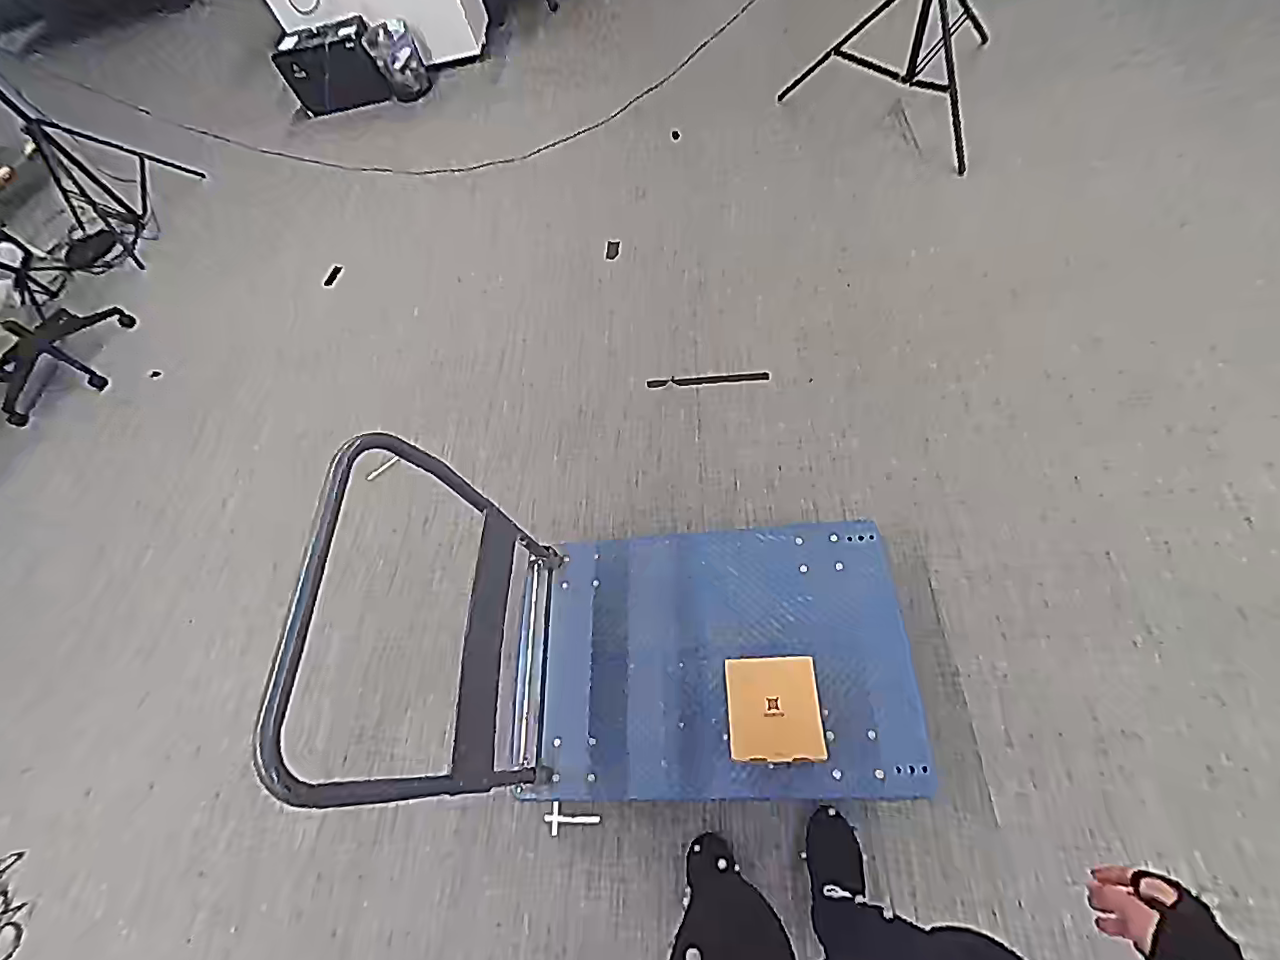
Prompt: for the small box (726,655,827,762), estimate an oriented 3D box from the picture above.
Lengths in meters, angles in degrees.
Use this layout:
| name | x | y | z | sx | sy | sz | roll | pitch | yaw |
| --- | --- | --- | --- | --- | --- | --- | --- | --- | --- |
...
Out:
| name | x | y | z | sx | sy | sz | roll | pitch | yaw |
| --- | --- | --- | --- | --- | --- | --- | --- | --- | --- |
| small box | 0.258 | 0.451 | 1.057 | 0.168 | 0.176 | 0.179 | -6 | 62 | 9 |
